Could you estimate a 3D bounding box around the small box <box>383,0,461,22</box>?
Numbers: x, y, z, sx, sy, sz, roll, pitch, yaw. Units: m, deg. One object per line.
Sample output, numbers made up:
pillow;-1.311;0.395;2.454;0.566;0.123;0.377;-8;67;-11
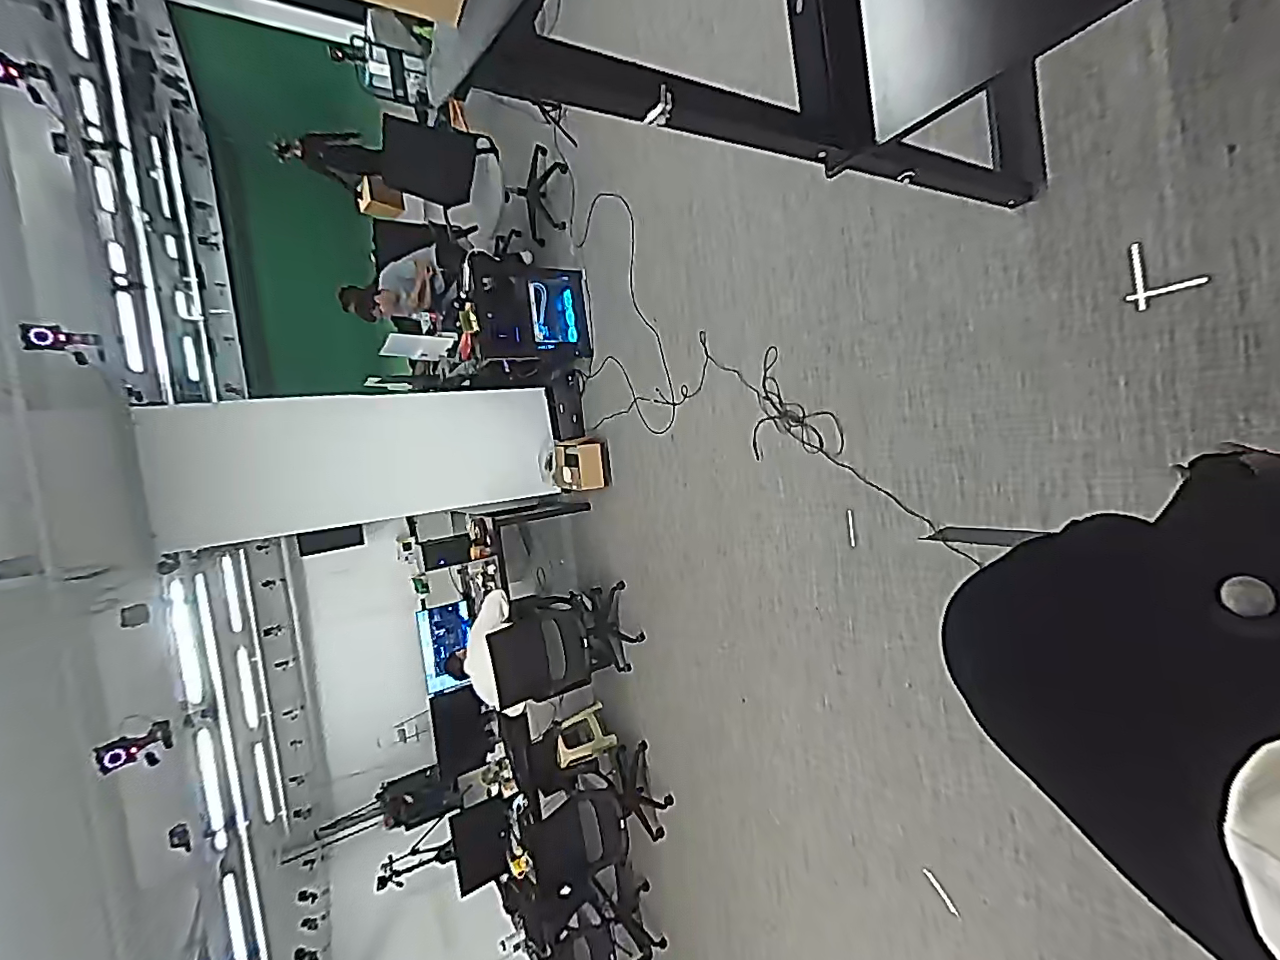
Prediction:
small box;-0.264;-0.623;0.542;0.168;0.176;0.179;-7;91;60
